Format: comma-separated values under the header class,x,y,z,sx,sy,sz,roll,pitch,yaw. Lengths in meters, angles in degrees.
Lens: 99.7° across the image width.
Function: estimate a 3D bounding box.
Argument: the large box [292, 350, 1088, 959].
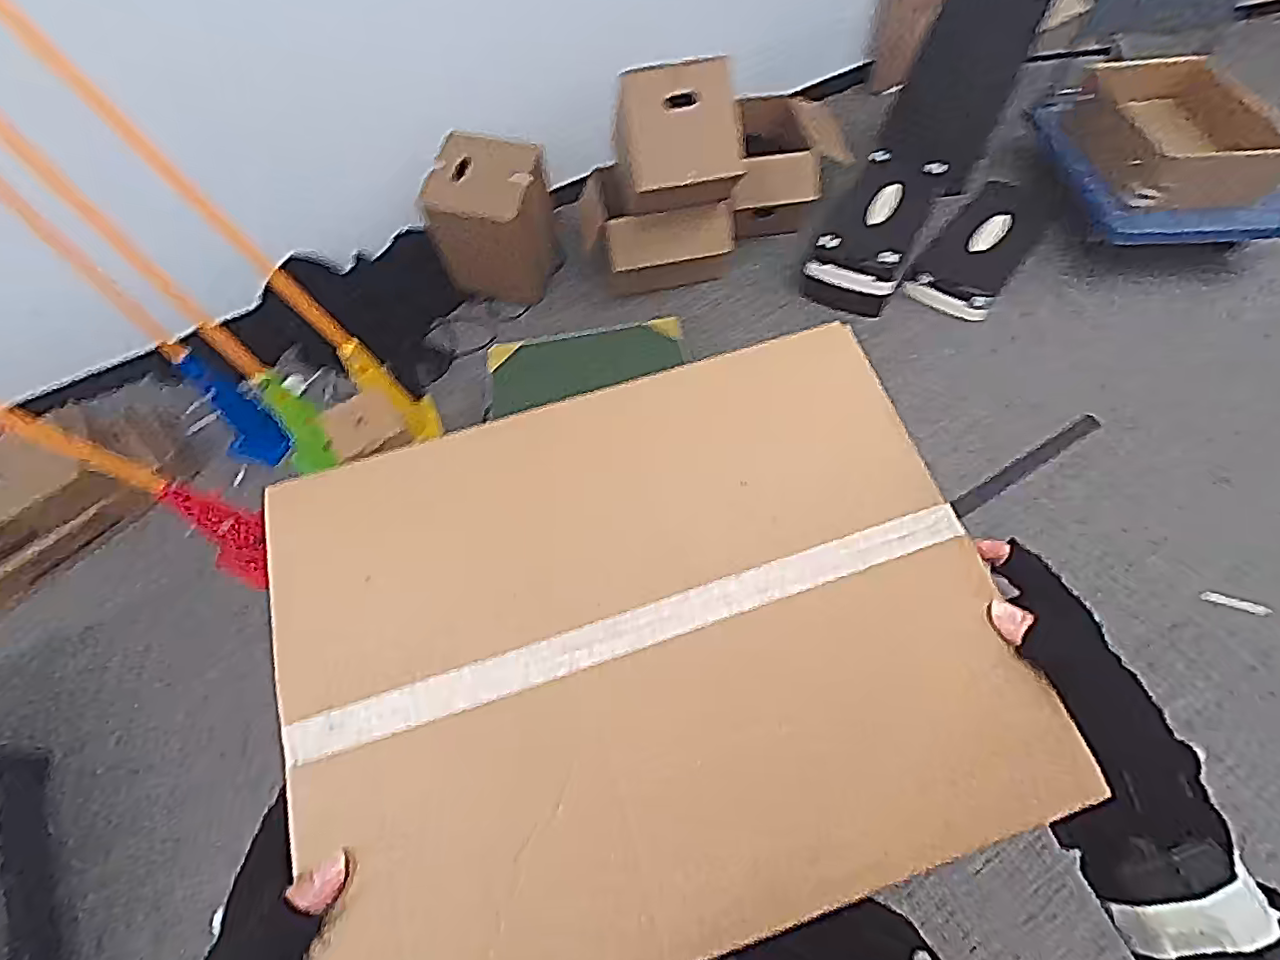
class,x,y,z,sx,sy,sz,roll,pitch,yaw
large box,0.012,0.150,0.457,0.408,0.320,0.320,-17,69,-5
